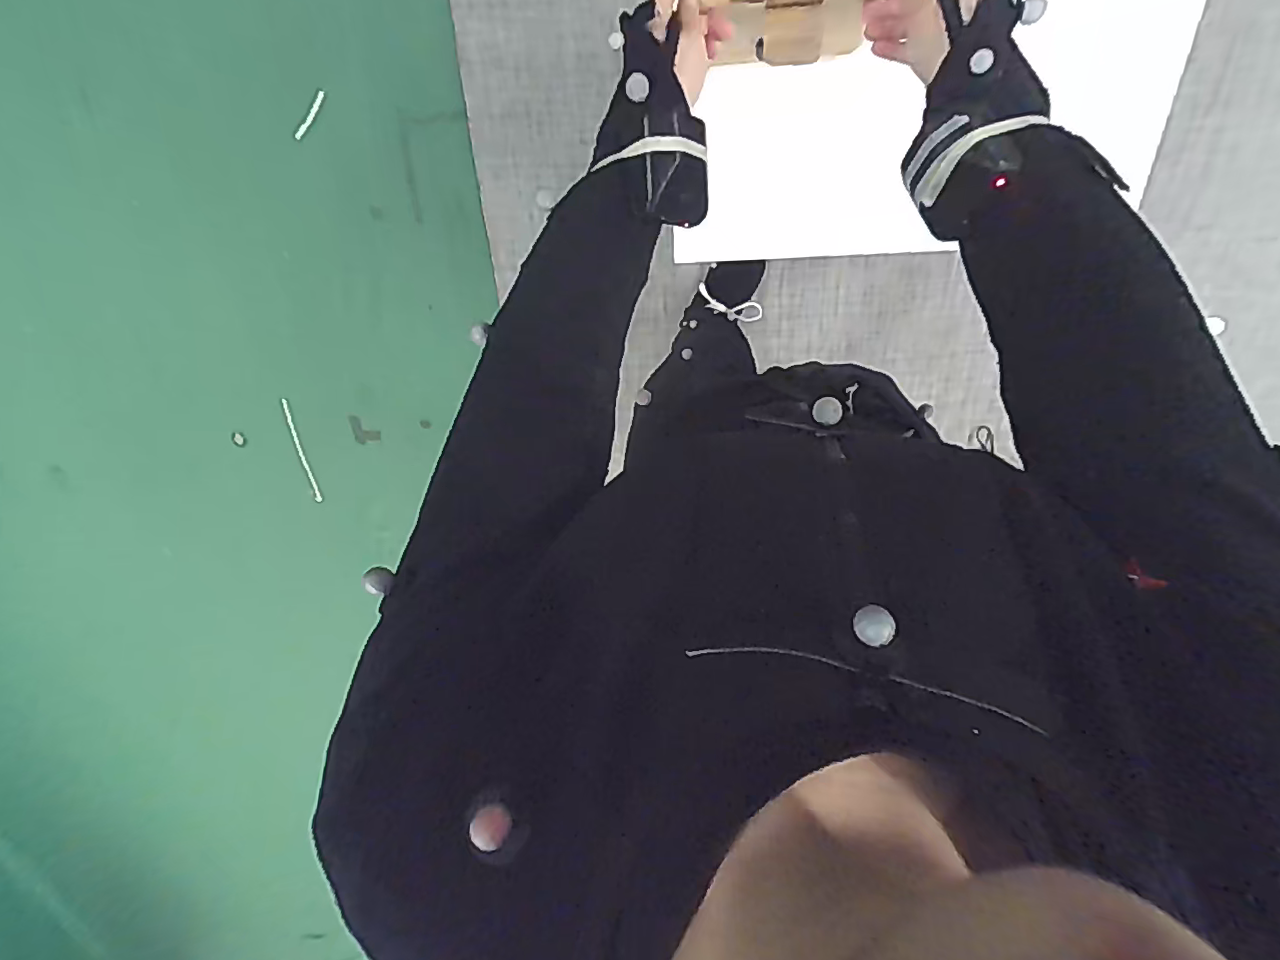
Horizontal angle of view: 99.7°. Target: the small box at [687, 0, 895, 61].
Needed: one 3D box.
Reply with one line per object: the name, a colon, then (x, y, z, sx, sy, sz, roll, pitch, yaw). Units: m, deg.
small box: (0.120, -0.472, 0.435, 0.168, 0.176, 0.179, -1, 116, 7)
